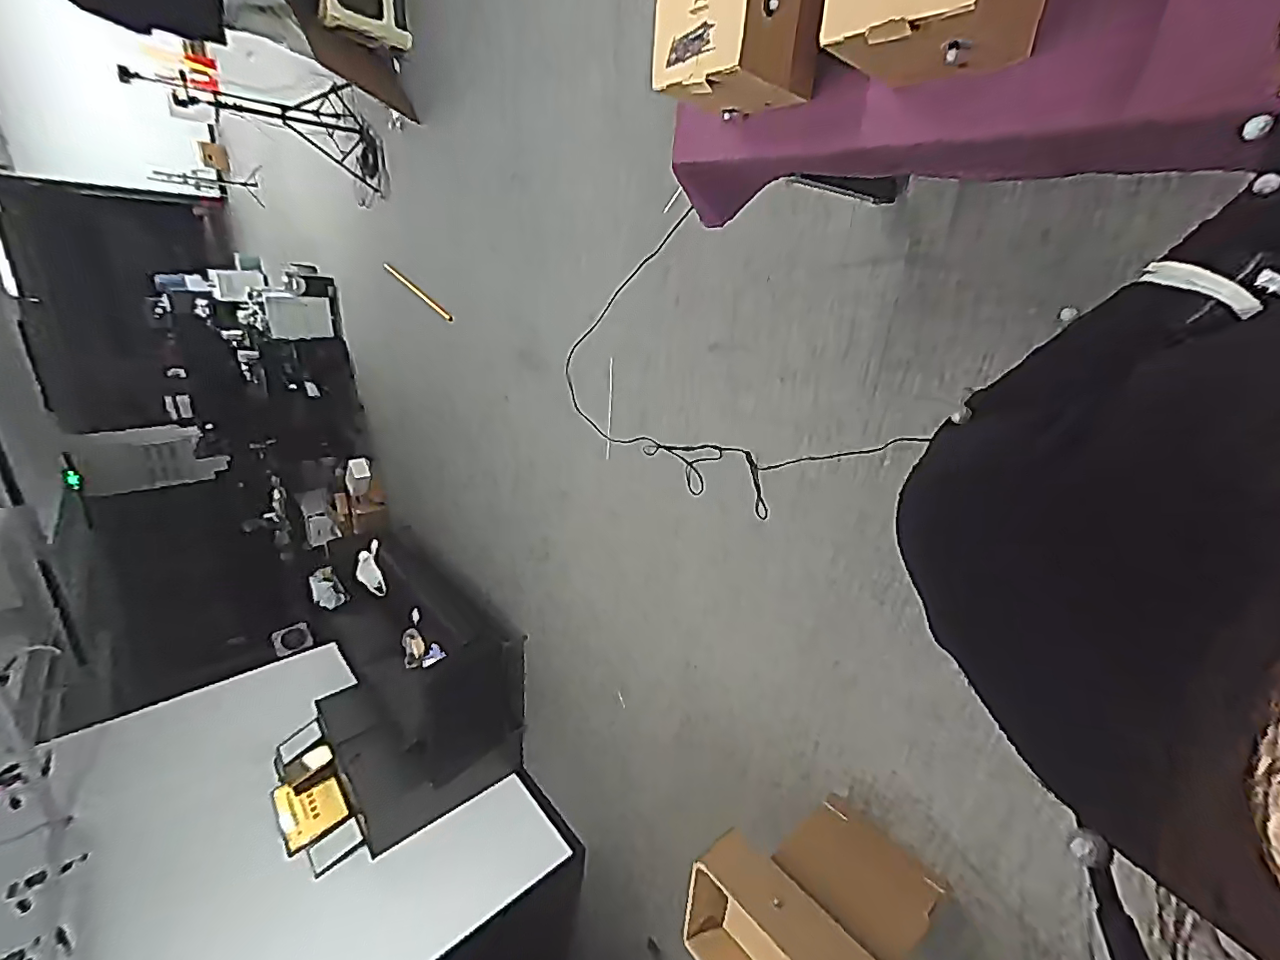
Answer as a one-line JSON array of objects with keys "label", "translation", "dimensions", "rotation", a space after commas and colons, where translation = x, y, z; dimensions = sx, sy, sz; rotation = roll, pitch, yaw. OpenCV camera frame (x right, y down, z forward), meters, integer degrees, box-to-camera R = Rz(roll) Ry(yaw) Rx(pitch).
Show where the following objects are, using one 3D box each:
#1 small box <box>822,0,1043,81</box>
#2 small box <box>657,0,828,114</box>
[{"label": "small box", "translation": [0.326, -0.553, 0.575], "dimensions": [0.168, 0.176, 0.179], "rotation": [27, 120, 42]}, {"label": "small box", "translation": [0.145, -0.640, 0.762], "dimensions": [0.168, 0.176, 0.179], "rotation": [25, 118, 43]}]
